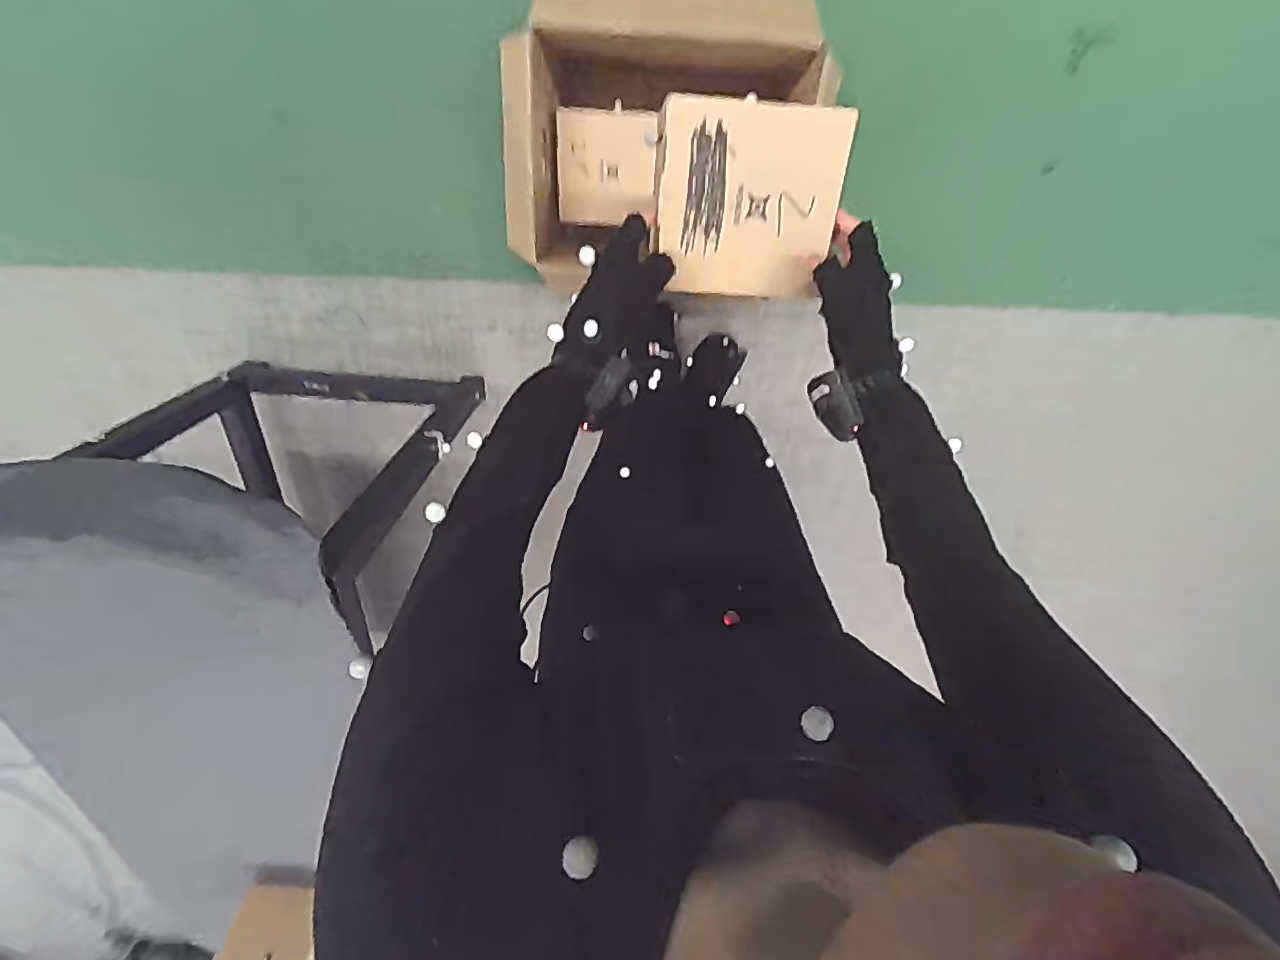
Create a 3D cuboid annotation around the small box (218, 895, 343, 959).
[{"bbox_3d":[-0.723,0.964,1.079,0.179,0.176,0.168,4,120,1],"label":"small box"}]
